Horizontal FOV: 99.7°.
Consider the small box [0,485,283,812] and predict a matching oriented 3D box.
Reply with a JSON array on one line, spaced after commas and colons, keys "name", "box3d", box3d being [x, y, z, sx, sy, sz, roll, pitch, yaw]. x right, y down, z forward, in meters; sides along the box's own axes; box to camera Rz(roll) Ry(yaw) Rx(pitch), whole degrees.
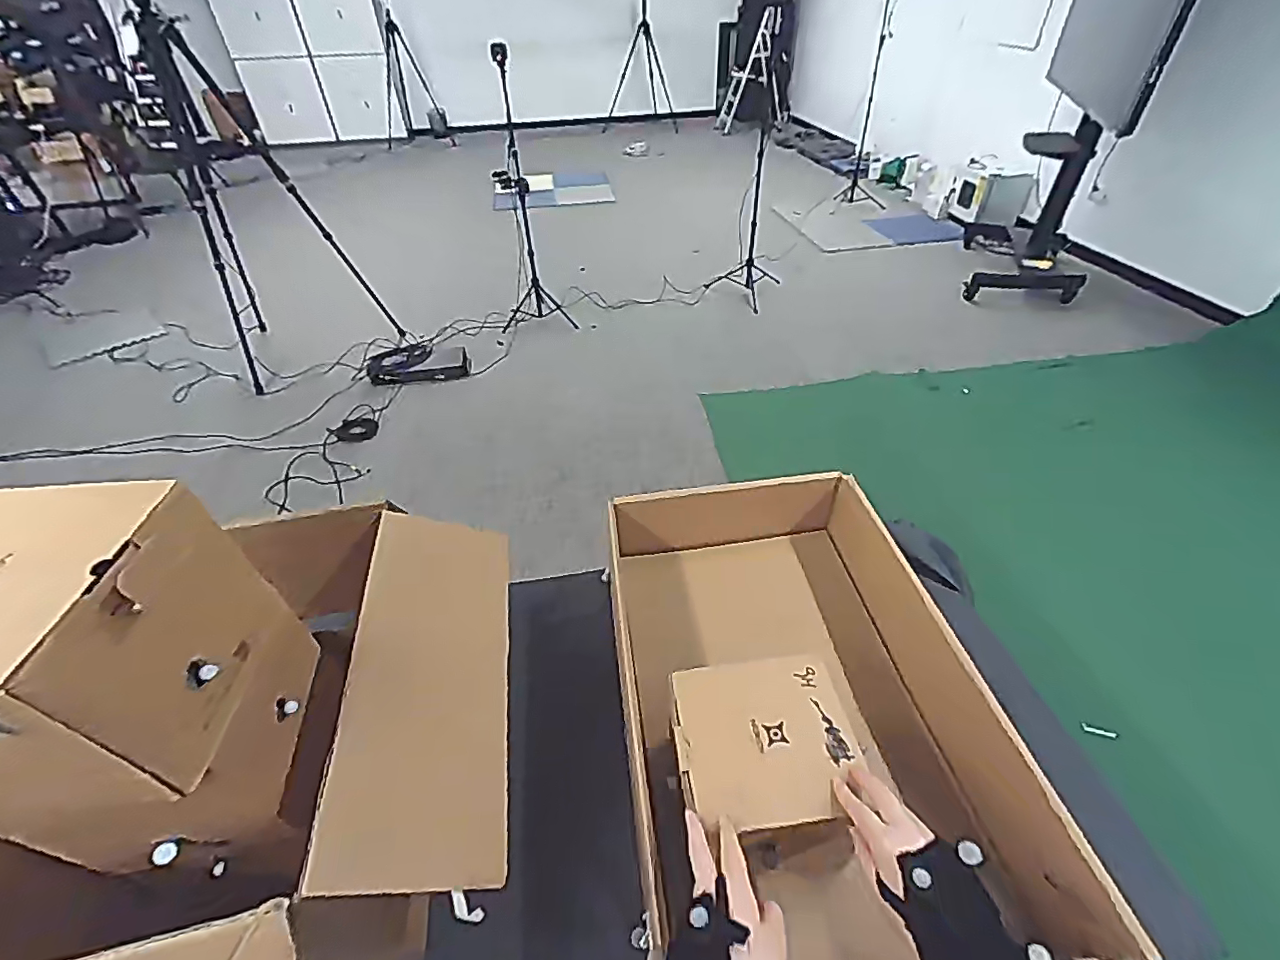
[{"name": "small box", "box3d": [-0.414, 0.123, 0.394, 0.179, 0.176, 0.168, -3, 43, -2]}]
